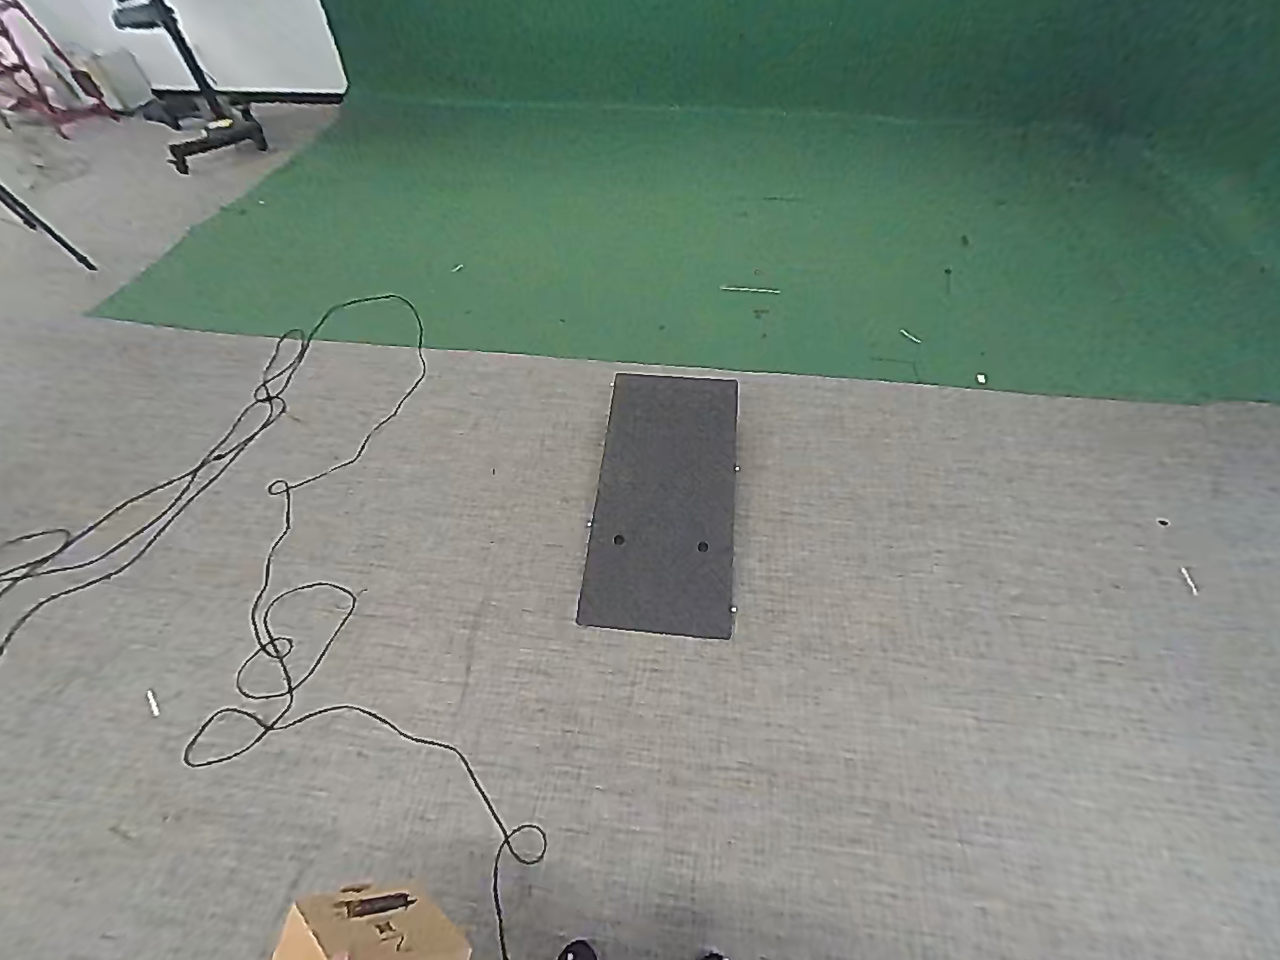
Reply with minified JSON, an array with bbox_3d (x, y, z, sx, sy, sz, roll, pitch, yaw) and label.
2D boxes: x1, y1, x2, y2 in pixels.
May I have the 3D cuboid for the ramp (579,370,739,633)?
[{"bbox_3d":[0.099,0.021,1.917,0.509,0.206,0.991,4,53,3],"label":"ramp"}]
